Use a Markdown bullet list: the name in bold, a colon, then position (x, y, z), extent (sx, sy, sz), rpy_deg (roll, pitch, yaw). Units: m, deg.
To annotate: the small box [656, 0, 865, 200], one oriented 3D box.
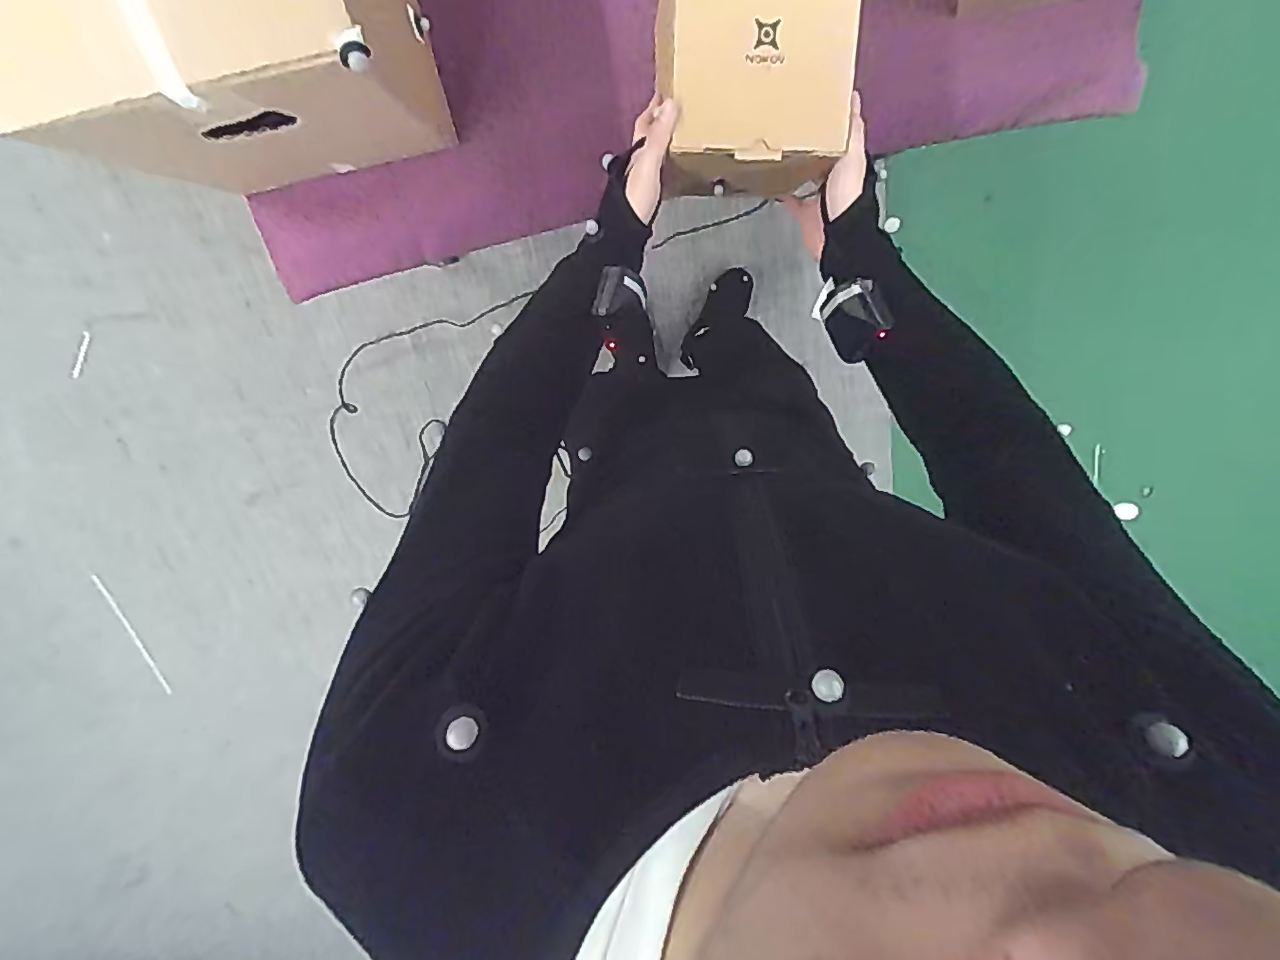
- **small box**: position (0.107, -0.401, 0.550), extent (0.168, 0.176, 0.179), rpy_deg (-2, 107, -5)
